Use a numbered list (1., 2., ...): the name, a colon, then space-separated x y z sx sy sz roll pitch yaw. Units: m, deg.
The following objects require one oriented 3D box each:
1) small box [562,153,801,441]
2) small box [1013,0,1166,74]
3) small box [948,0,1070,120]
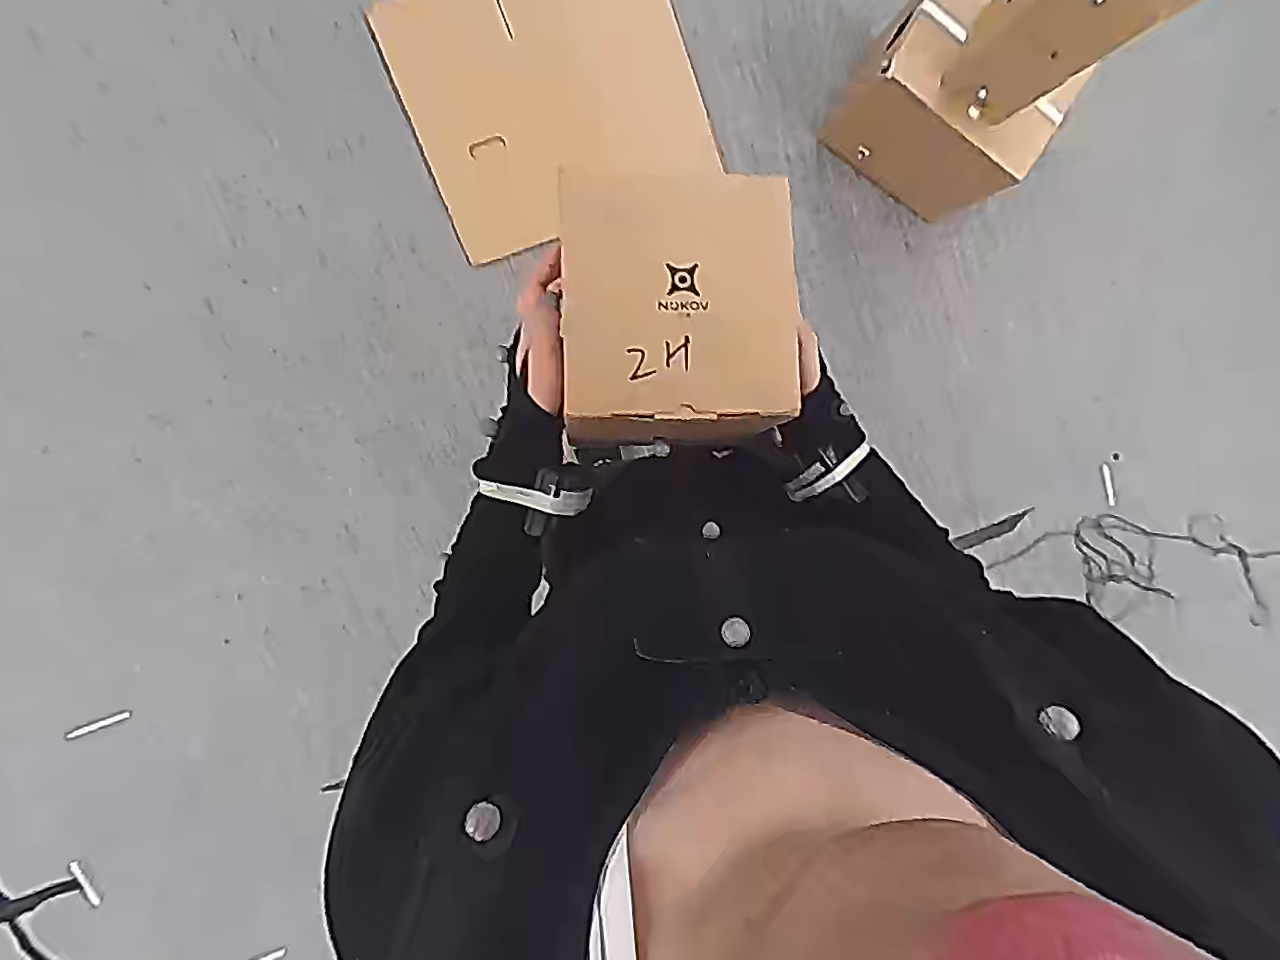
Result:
1. small box: 0.019 -0.131 0.449 0.168 0.176 0.179 -2 86 -6
2. small box: 0.788 -0.857 0.916 0.168 0.176 0.179 29 92 -11
3. small box: 0.763 -0.877 1.077 0.168 0.176 0.179 29 94 -11
